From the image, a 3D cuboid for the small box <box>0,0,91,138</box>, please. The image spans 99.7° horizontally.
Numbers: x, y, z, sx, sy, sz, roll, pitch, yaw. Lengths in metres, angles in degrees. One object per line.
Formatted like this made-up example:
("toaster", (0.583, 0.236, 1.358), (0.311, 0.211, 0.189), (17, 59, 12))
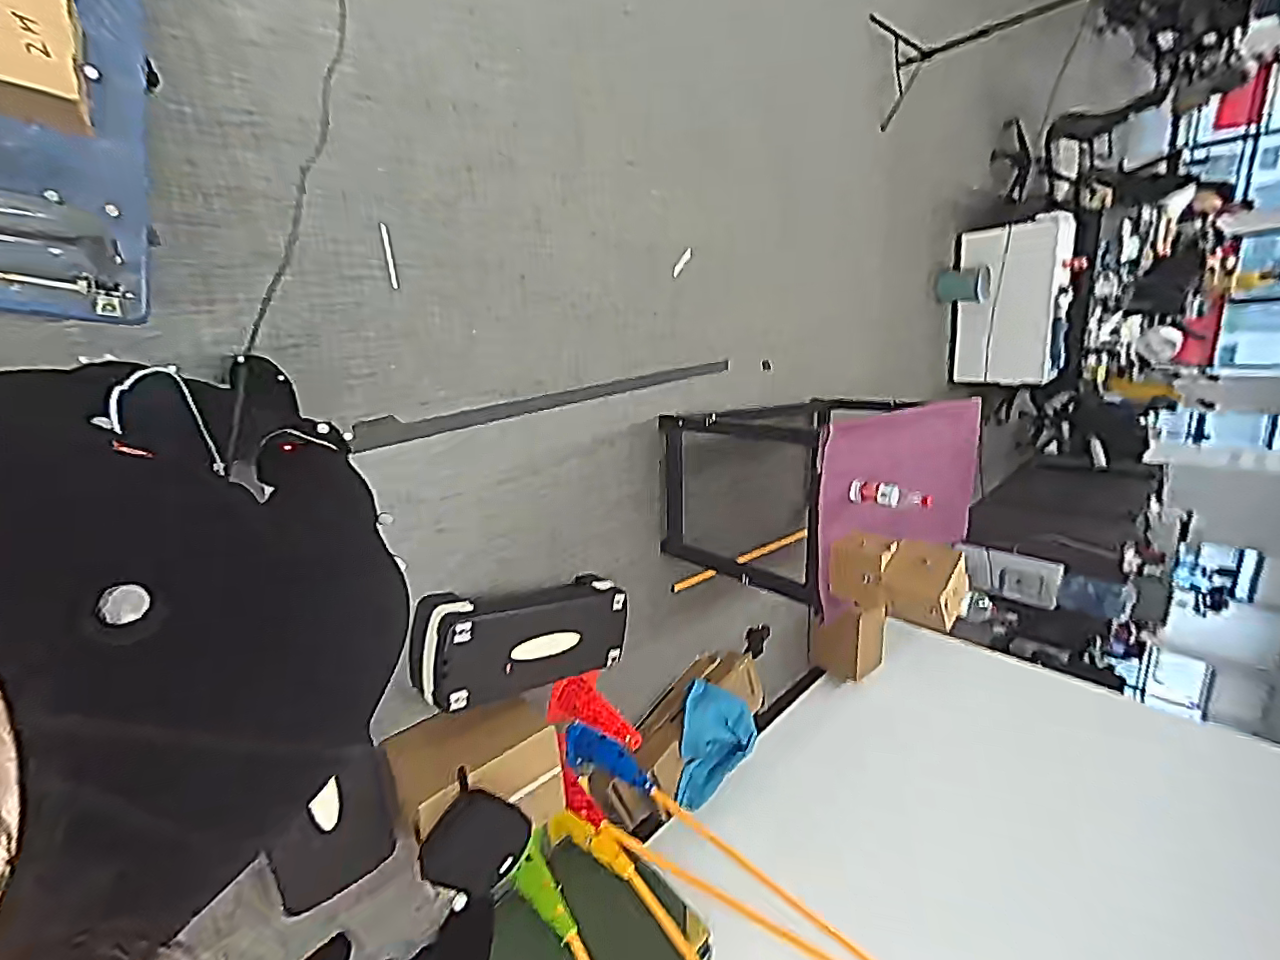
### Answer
("small box", (-0.905, -0.611, 0.753), (0.179, 0.176, 0.168), (-6, 103, -42))
